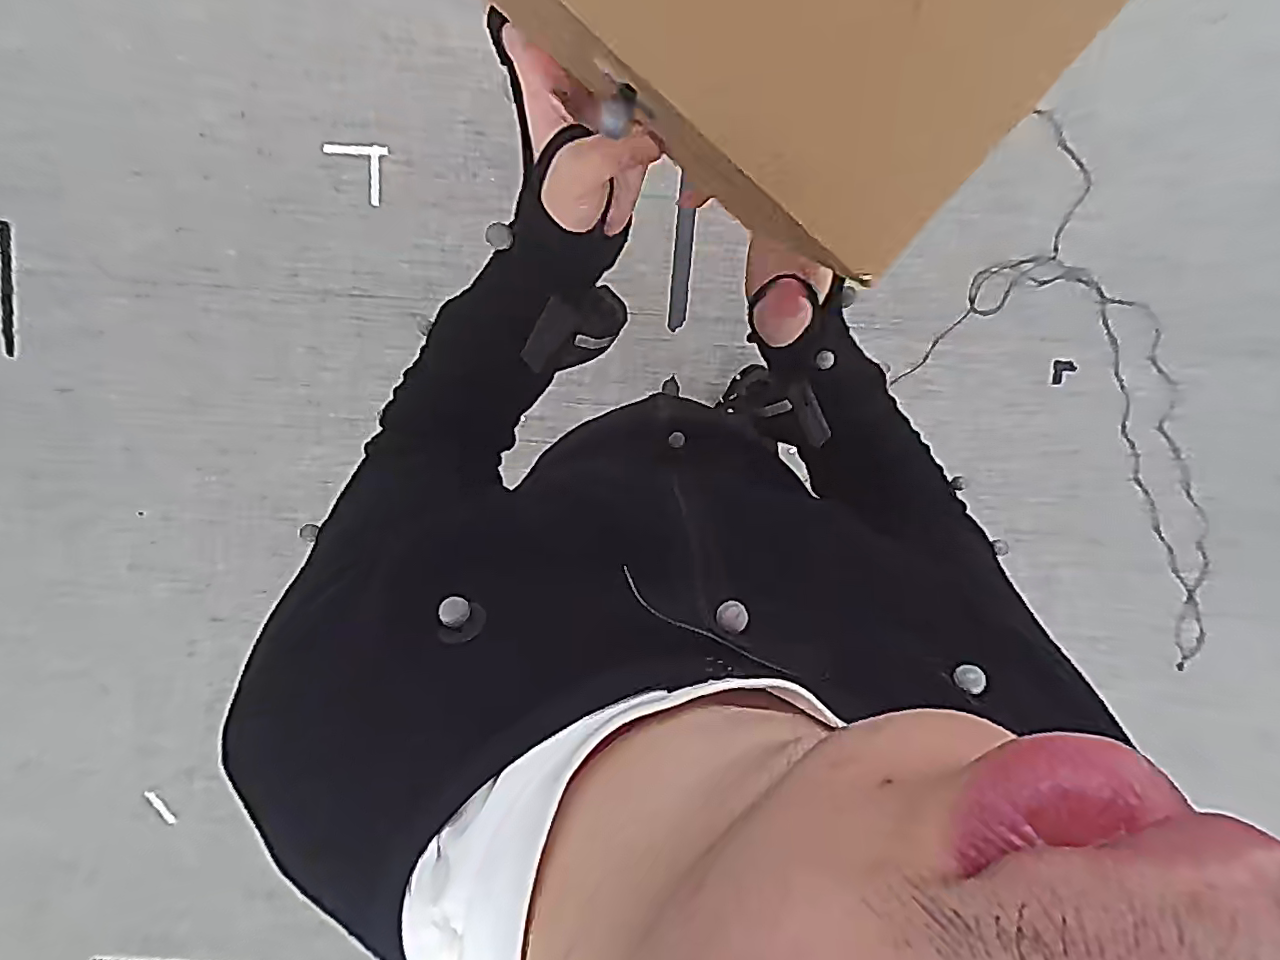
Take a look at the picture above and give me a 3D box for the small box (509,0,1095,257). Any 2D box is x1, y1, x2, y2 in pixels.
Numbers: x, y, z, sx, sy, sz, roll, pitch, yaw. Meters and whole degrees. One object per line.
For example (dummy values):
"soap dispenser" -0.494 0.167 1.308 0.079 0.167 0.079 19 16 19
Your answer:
"small box" 0.050 -0.210 0.192 0.179 0.176 0.168 31 115 -18
